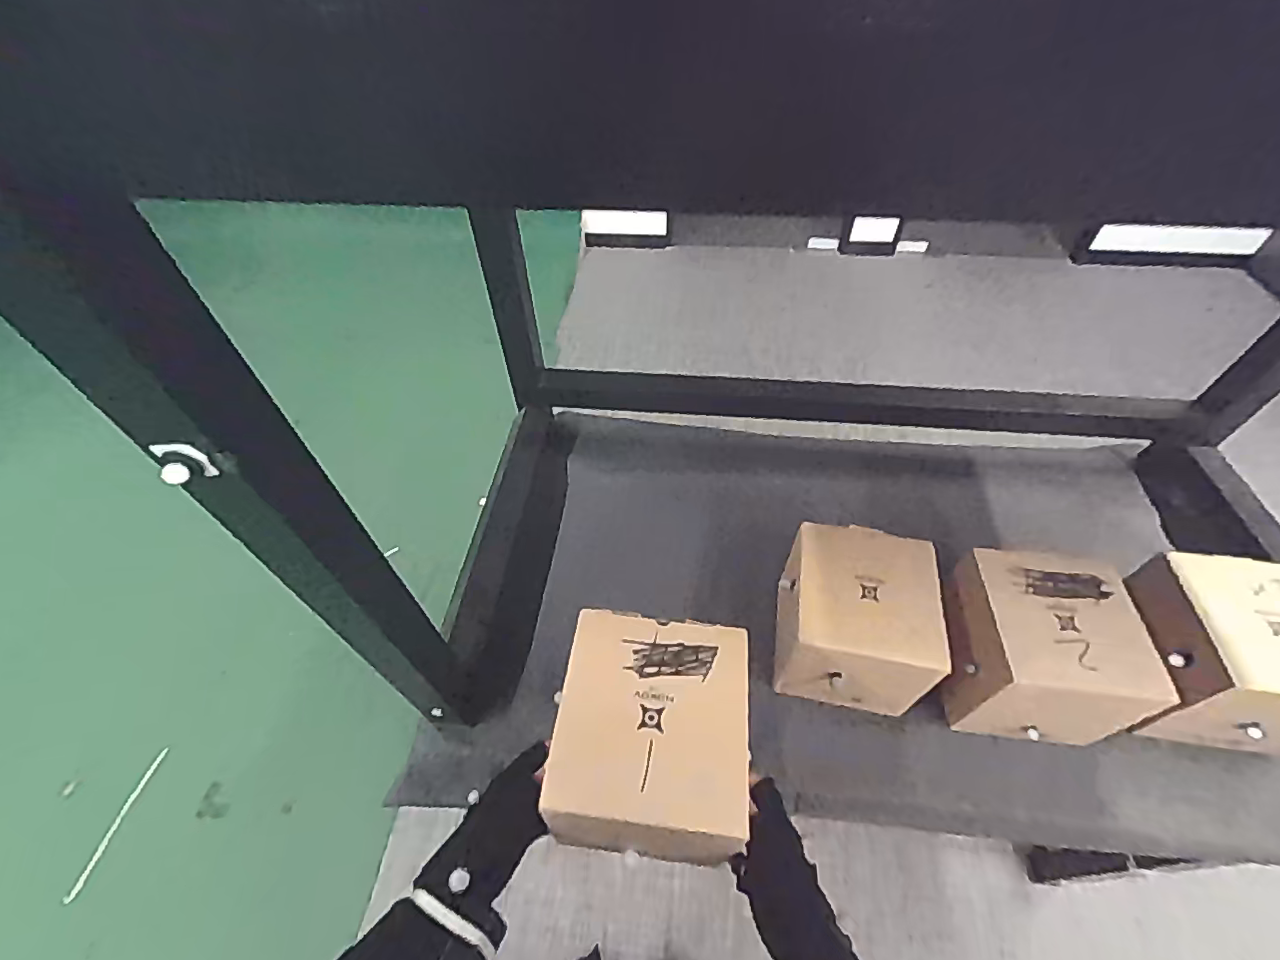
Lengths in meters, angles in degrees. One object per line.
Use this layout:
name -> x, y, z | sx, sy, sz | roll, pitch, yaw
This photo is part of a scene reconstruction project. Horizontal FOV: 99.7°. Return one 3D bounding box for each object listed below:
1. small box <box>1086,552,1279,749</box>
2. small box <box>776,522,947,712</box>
small box -> 0.717, 0.215, 0.674 | 0.168, 0.176, 0.179 | 7, 50, 7
small box -> 0.279, 0.184, 0.716 | 0.168, 0.176, 0.179 | 9, 50, 9
